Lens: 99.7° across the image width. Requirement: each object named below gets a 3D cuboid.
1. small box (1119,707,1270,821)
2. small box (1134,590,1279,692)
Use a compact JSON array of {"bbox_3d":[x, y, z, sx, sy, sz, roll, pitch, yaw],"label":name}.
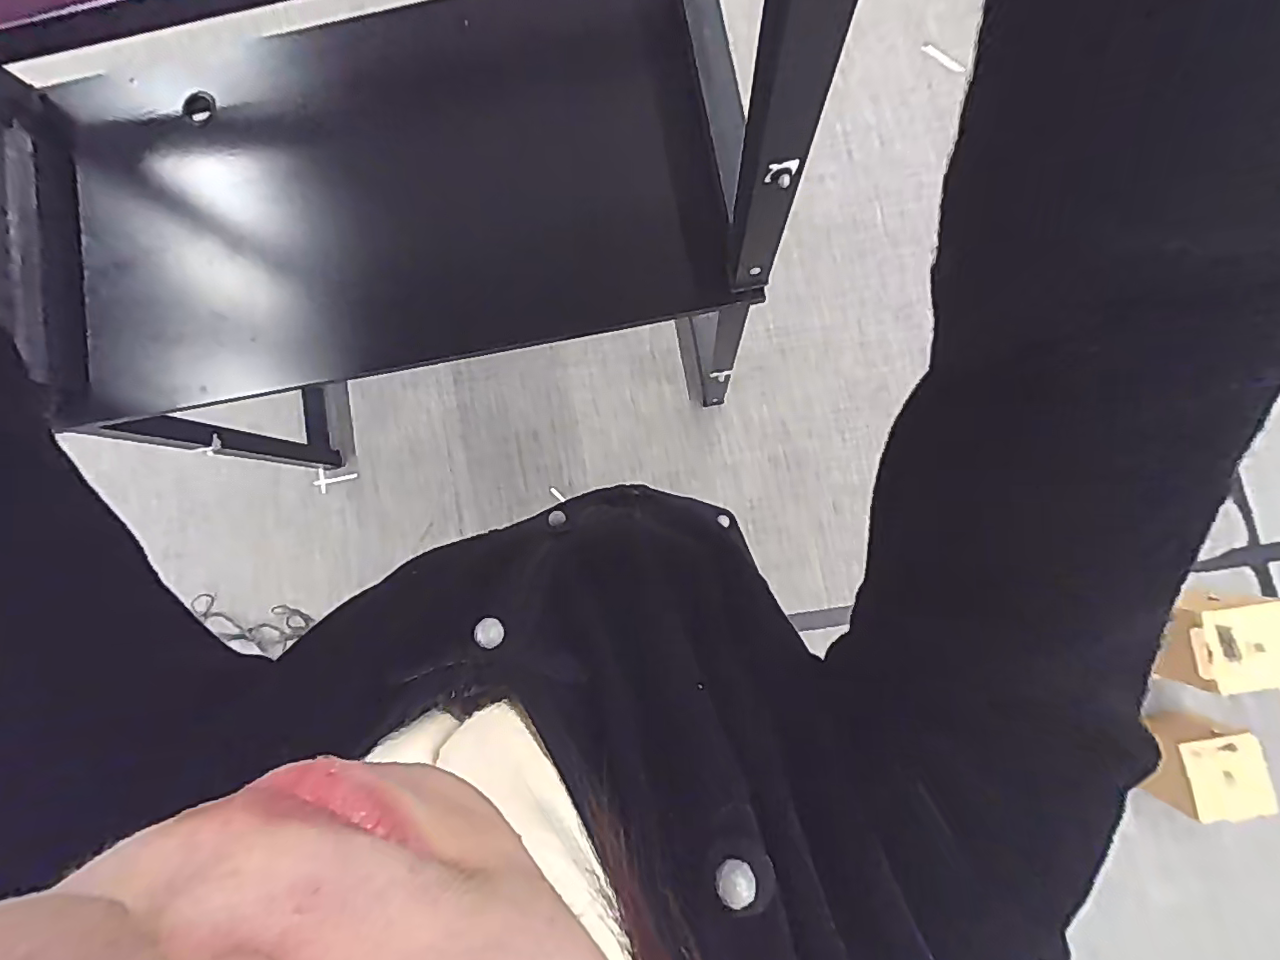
[{"bbox_3d":[1.298,0.664,1.279,0.168,0.176,0.179,-11,86,3],"label":"small box"},{"bbox_3d":[1.205,0.334,1.147,0.179,0.176,0.168,-9,86,2],"label":"small box"}]
